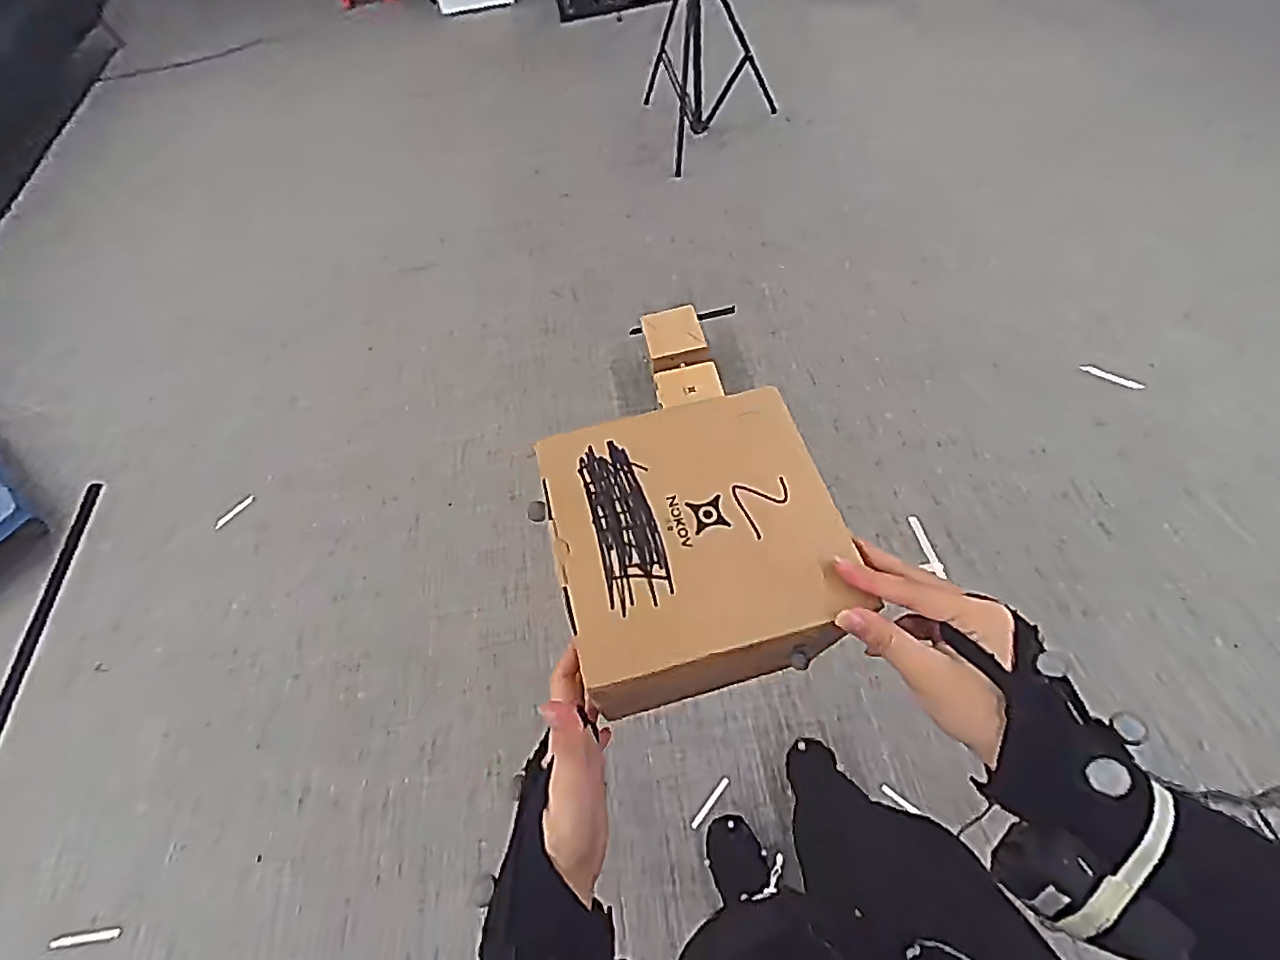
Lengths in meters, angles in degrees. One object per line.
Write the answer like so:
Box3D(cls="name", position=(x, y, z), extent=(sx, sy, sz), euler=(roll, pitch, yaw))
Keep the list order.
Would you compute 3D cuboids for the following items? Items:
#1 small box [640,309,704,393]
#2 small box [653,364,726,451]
Box3D(cls="small box", position=(0.099, -0.396, 1.662), extent=(0.168, 0.176, 0.179), euler=(-13, 60, 0))
Box3D(cls="small box", position=(0.141, -0.204, 1.555), extent=(0.179, 0.176, 0.168), euler=(-12, 60, 1))
